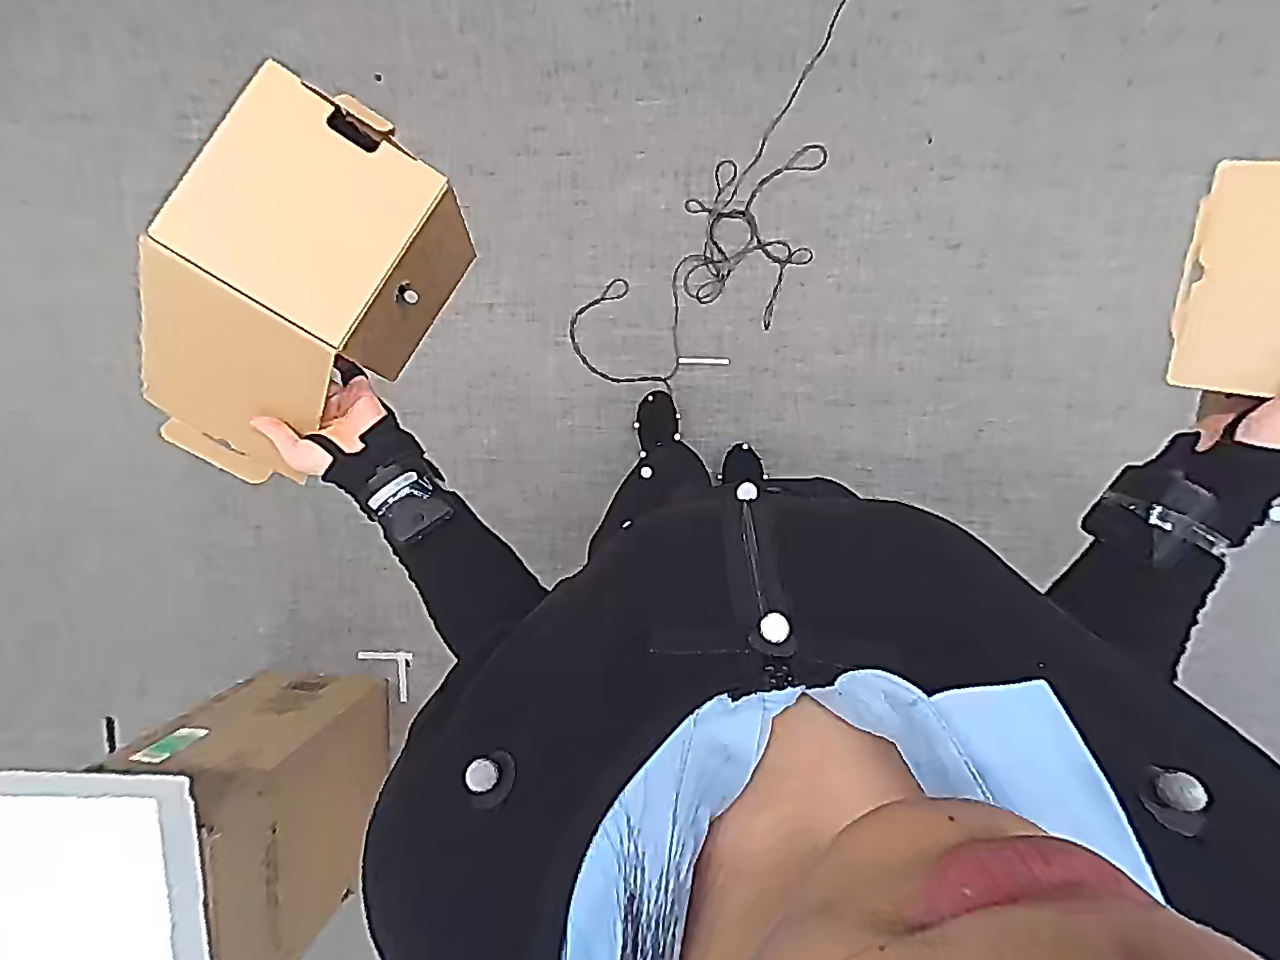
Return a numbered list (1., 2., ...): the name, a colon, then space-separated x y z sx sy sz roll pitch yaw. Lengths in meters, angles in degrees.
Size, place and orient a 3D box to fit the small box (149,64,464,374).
1. small box: -0.290 -0.225 0.523 0.168 0.176 0.179 33 85 -9
